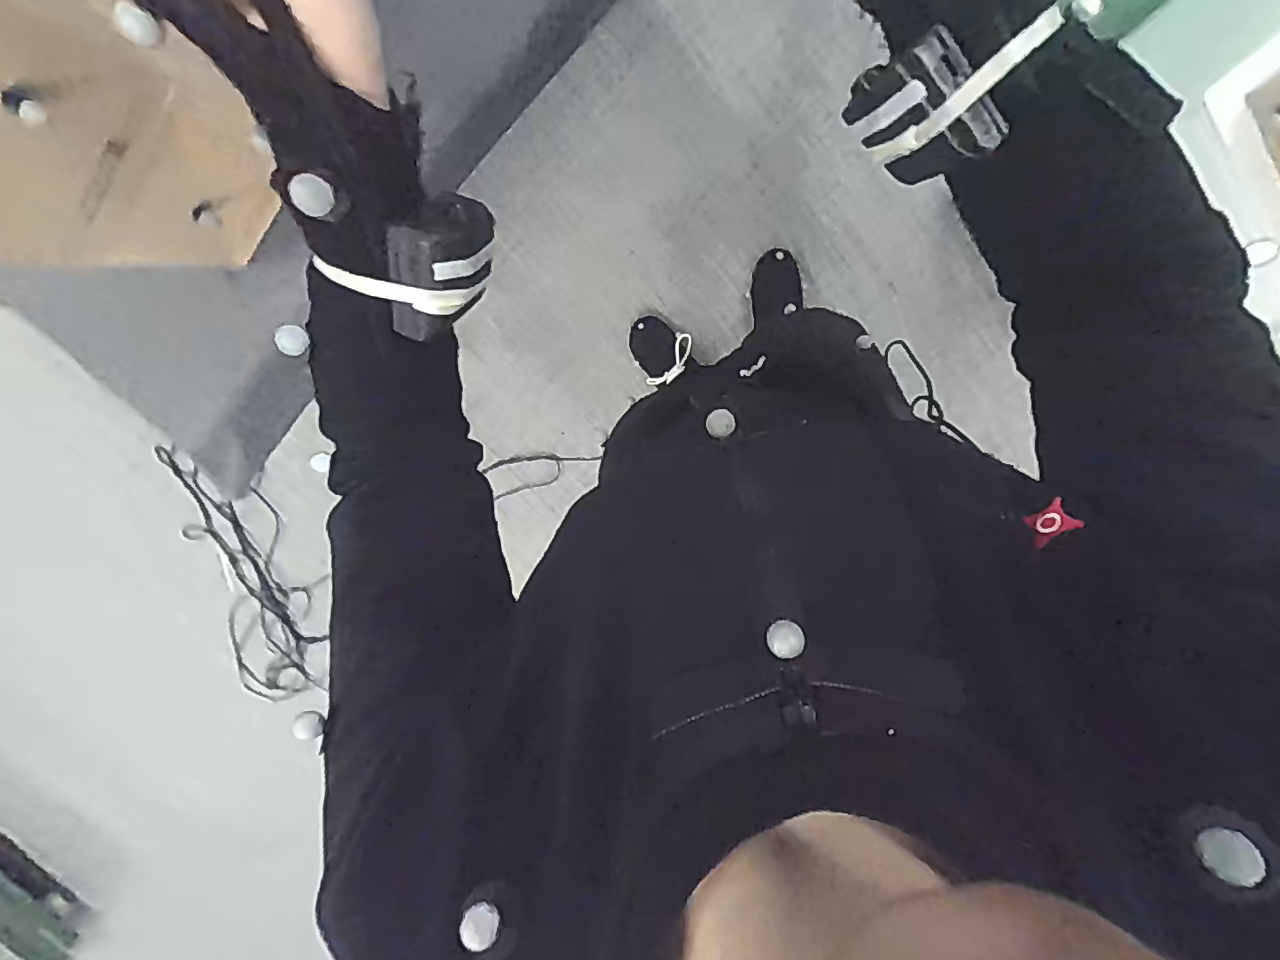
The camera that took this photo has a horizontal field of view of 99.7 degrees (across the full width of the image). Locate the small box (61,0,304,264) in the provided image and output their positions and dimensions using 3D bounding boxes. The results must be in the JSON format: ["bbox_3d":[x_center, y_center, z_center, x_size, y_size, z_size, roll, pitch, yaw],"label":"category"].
[{"bbox_3d":[-0.435,-0.307,0.453,0.179,0.176,0.168,42,107,-12],"label":"small box"}]
